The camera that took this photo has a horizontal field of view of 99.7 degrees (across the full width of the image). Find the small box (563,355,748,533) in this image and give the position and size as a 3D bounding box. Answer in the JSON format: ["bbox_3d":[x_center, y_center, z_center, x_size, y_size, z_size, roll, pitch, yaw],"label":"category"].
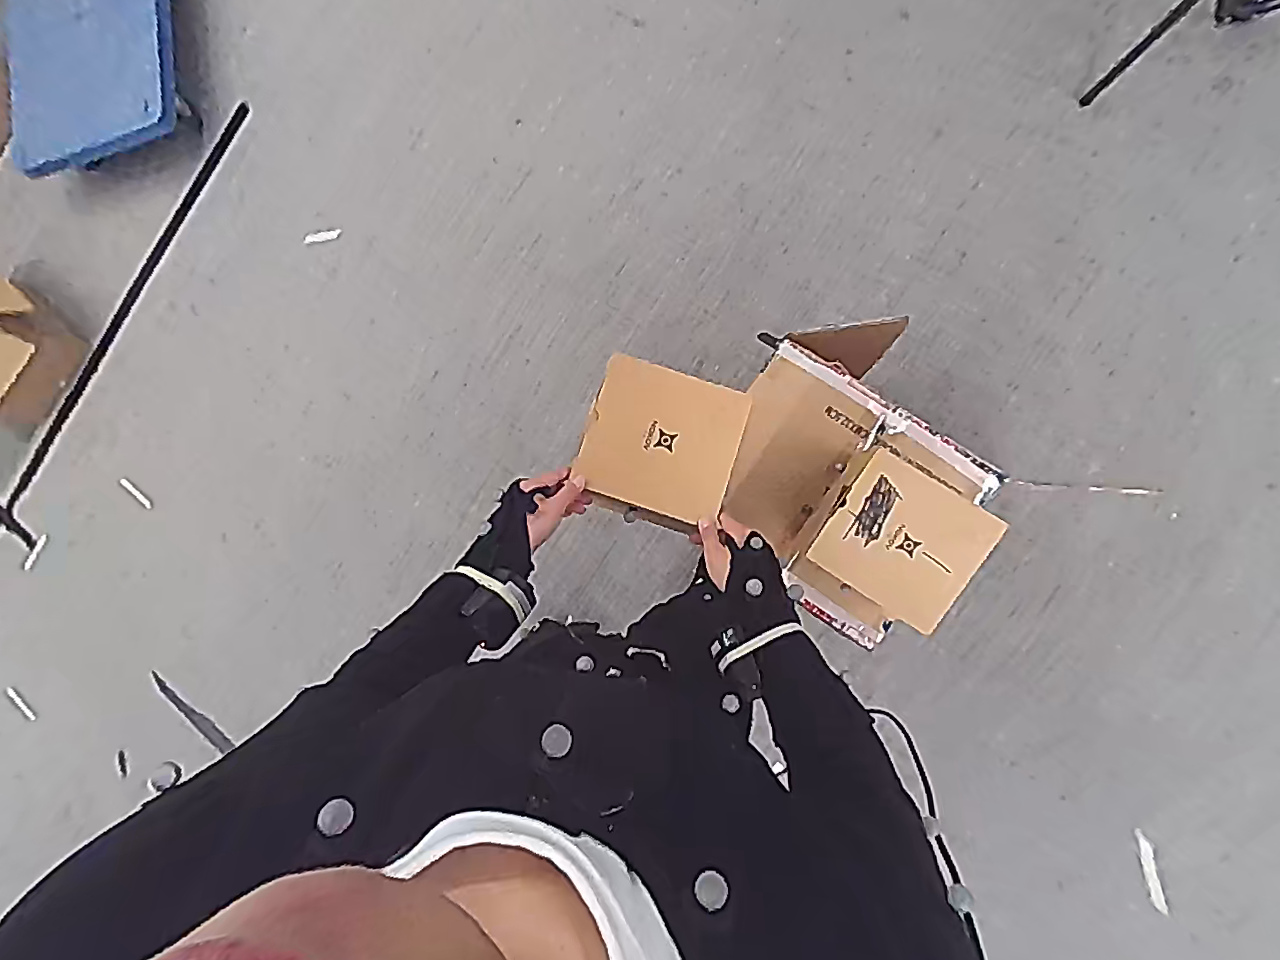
[{"bbox_3d":[0.019,-0.034,0.695,0.179,0.176,0.168,17,81,2],"label":"small box"}]
